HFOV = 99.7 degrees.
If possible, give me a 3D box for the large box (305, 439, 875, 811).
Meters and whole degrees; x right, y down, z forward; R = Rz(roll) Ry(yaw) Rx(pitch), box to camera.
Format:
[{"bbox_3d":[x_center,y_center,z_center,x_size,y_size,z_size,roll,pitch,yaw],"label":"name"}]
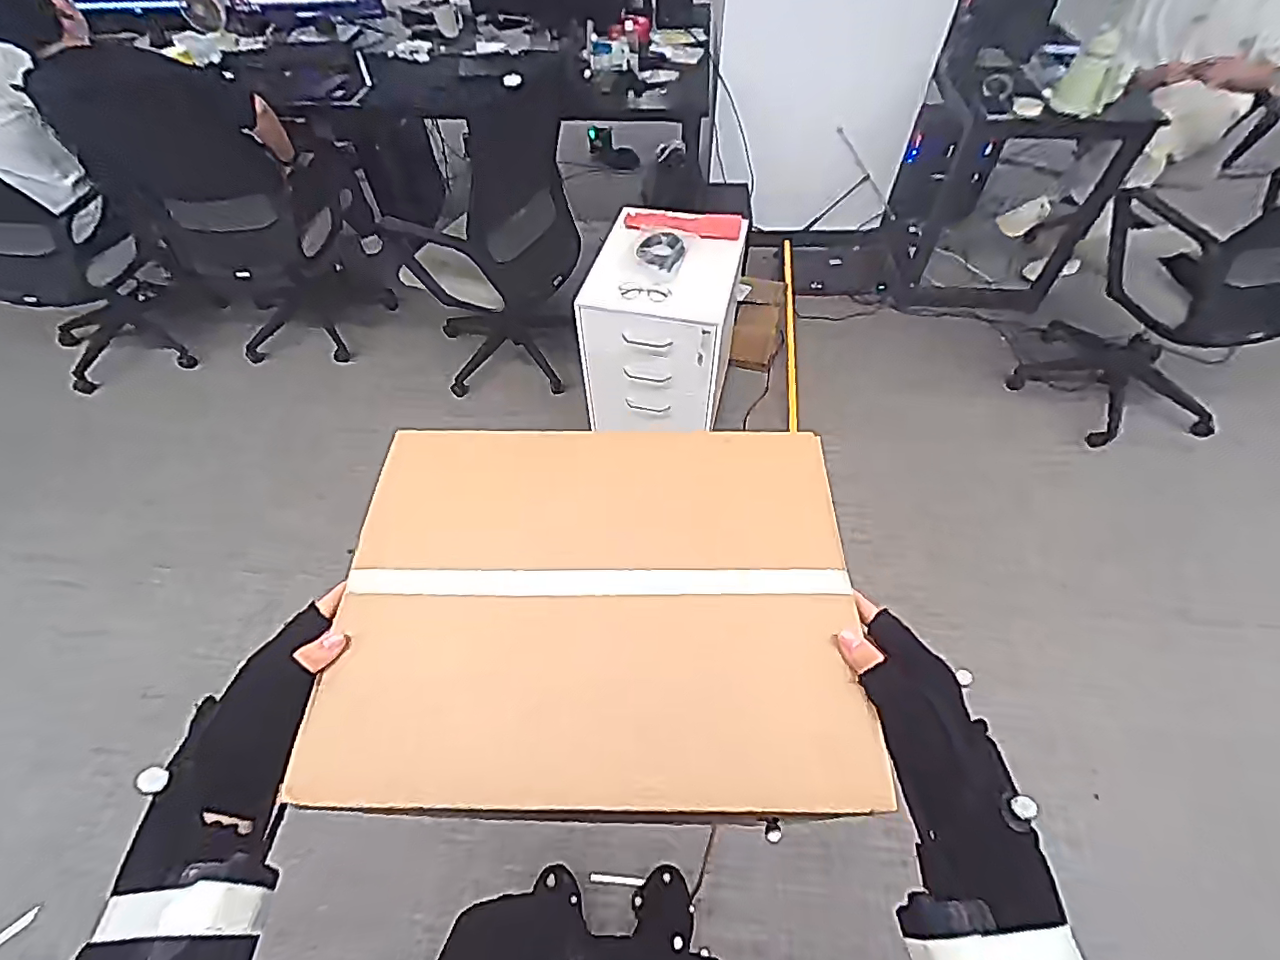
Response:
[{"bbox_3d":[-0.032,0.171,0.577,0.408,0.320,0.320,0,56,1],"label":"large box"}]
